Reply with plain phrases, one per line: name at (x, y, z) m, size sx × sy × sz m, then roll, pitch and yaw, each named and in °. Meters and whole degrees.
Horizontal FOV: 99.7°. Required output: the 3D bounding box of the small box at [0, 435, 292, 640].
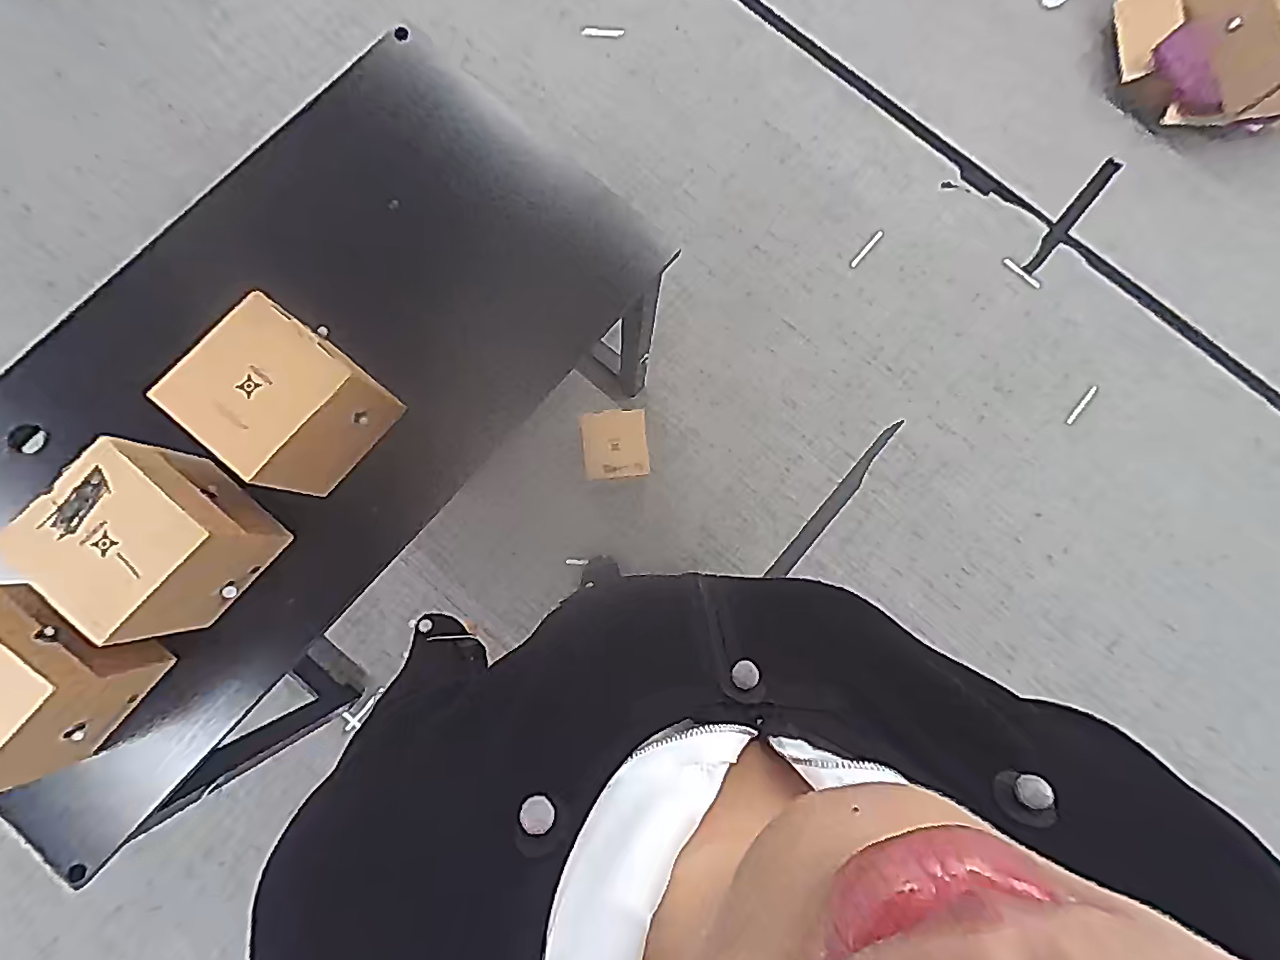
small box at (-0.602, 0.073, 0.684) m, size 0.179 × 0.176 × 0.168 m, roll 41°, pitch 83°, yaw 2°

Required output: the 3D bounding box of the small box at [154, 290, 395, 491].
small box at (-0.457, -0.105, 0.716) m, size 0.168 × 0.176 × 0.179 m, roll 40°, pitch 83°, yaw 4°

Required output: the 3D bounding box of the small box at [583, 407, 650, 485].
small box at (-0.066, -0.088, 1.465) m, size 0.168 × 0.176 × 0.179 m, roll -5°, pitch 83°, yaw -3°
